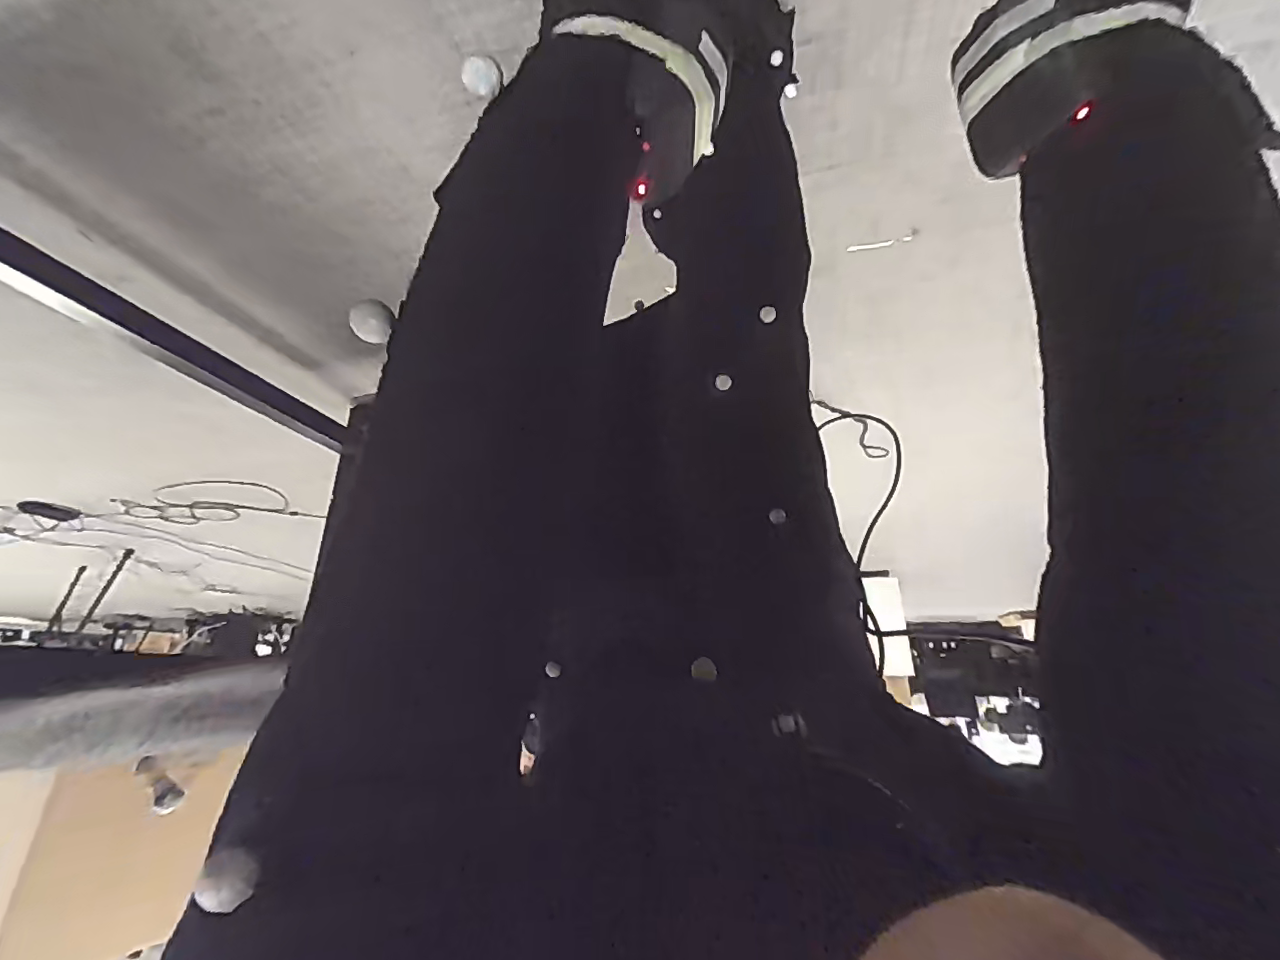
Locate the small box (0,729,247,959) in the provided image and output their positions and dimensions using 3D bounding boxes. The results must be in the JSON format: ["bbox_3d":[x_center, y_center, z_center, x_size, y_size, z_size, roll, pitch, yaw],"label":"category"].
[{"bbox_3d":[-0.501,0.318,0.483,0.179,0.176,0.168,-6,157,16],"label":"small box"}]
